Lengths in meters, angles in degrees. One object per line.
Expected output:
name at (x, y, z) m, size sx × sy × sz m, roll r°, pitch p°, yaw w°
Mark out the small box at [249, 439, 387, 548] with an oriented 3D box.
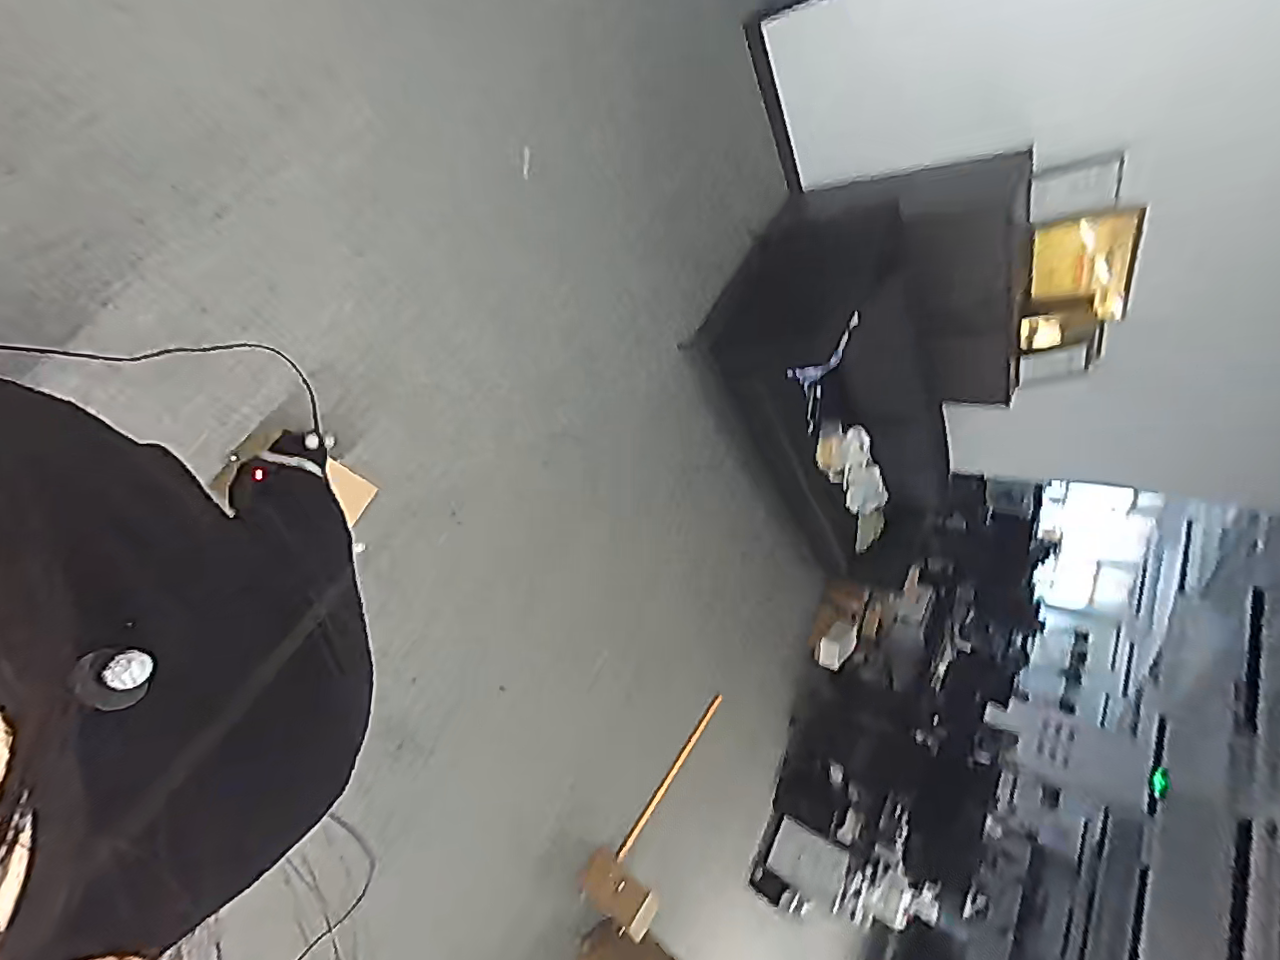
small box at (-0.706, 0.025, 1.182) m, size 0.179 × 0.176 × 0.168 m, roll 48°, pitch 64°, yaw -44°
